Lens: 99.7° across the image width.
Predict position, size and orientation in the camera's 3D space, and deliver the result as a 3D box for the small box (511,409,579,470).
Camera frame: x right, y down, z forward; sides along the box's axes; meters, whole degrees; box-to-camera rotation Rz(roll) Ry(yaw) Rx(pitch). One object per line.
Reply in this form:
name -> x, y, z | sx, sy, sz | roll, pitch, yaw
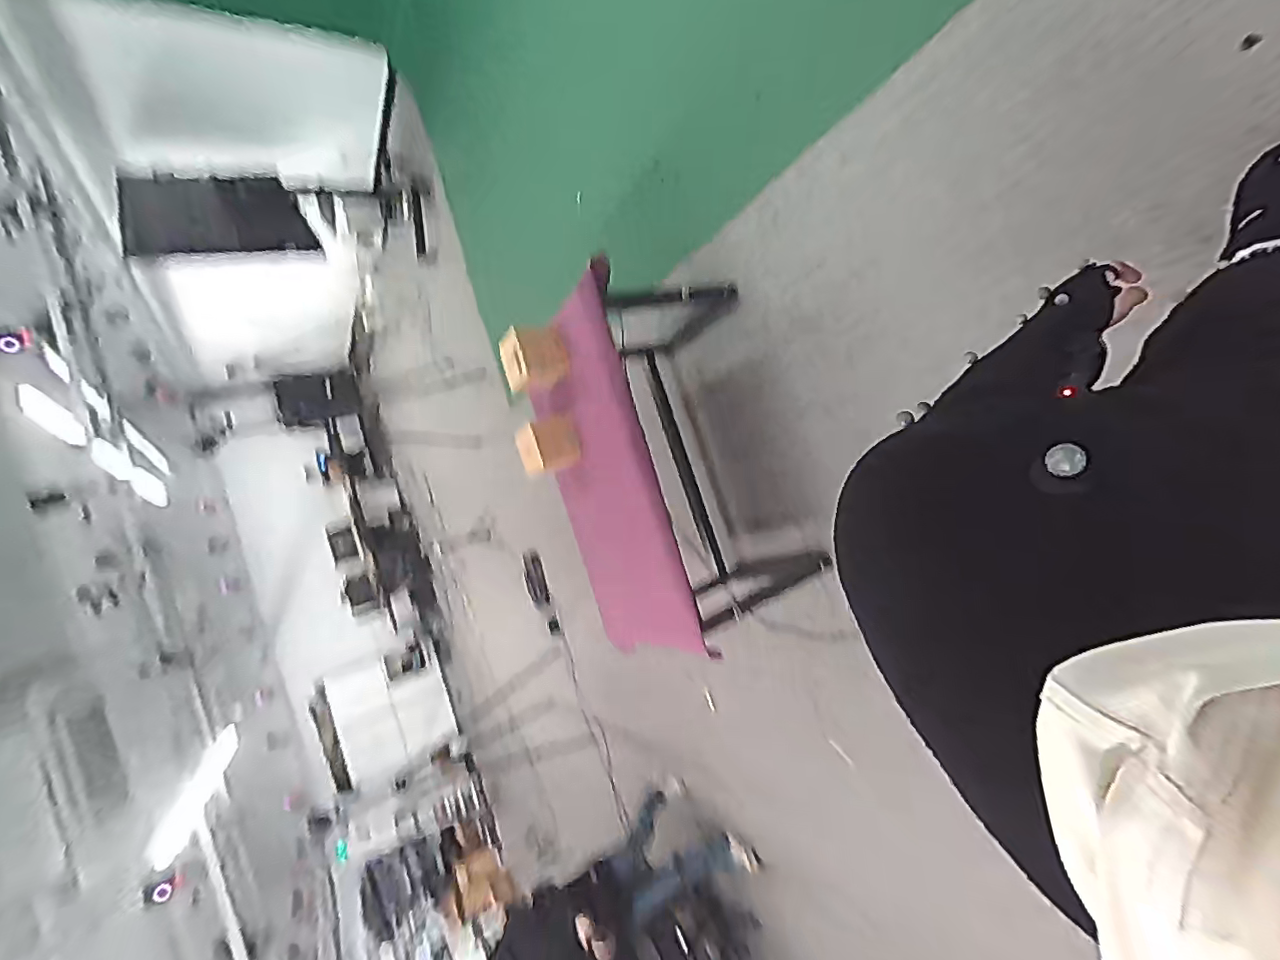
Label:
small box -> -0.349, -0.149, 1.991 | 0.179, 0.176, 0.168 | -23, 86, 56
